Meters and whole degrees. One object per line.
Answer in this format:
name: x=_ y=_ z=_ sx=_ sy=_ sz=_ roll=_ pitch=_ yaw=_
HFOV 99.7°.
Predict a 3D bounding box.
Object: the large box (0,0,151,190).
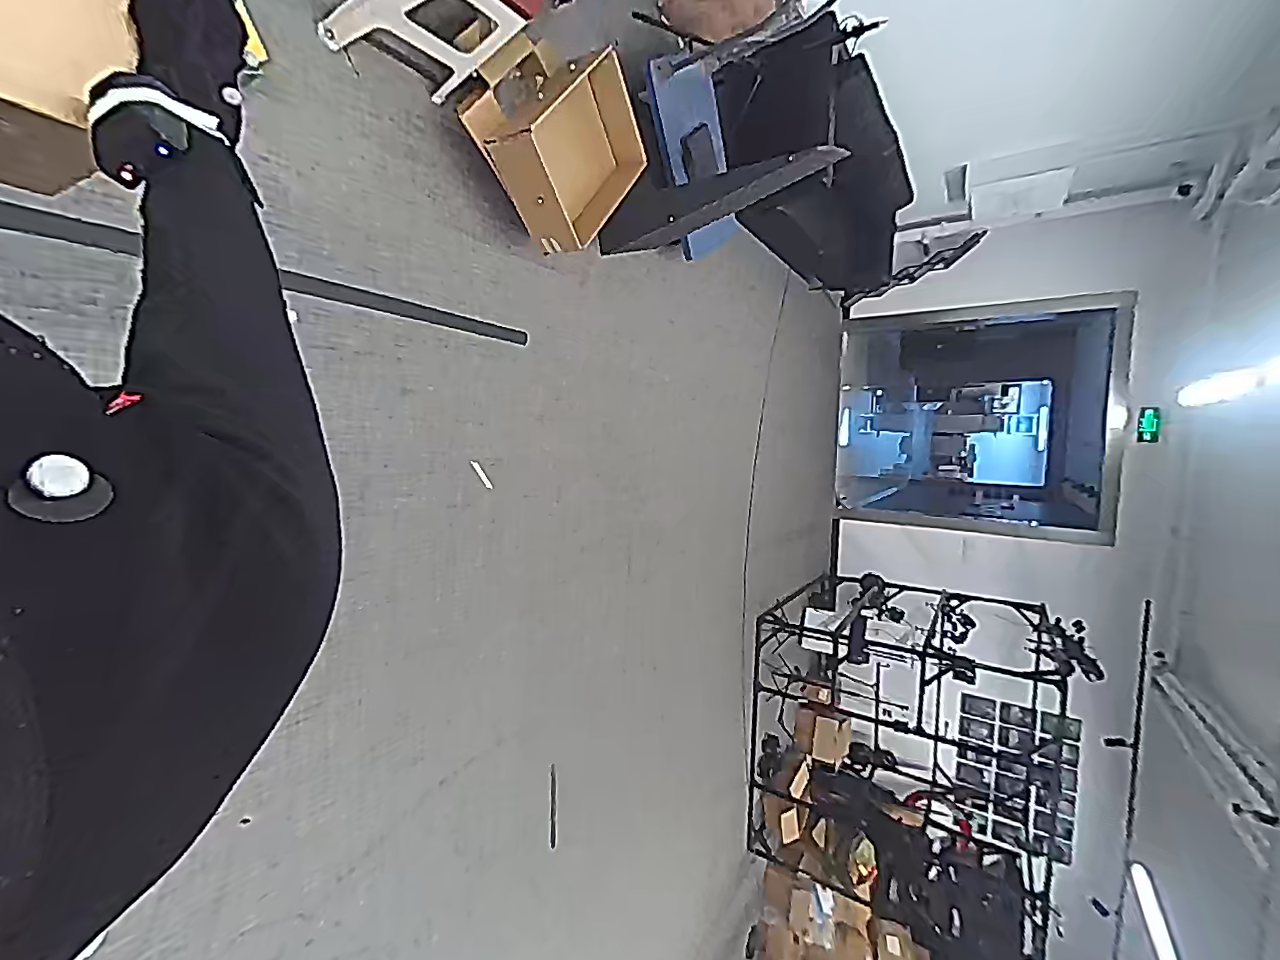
large box: x=-0.624 y=-0.441 z=0.345 sx=0.408 sy=0.320 sz=0.320 roll=-3 pitch=102 yaw=-57
